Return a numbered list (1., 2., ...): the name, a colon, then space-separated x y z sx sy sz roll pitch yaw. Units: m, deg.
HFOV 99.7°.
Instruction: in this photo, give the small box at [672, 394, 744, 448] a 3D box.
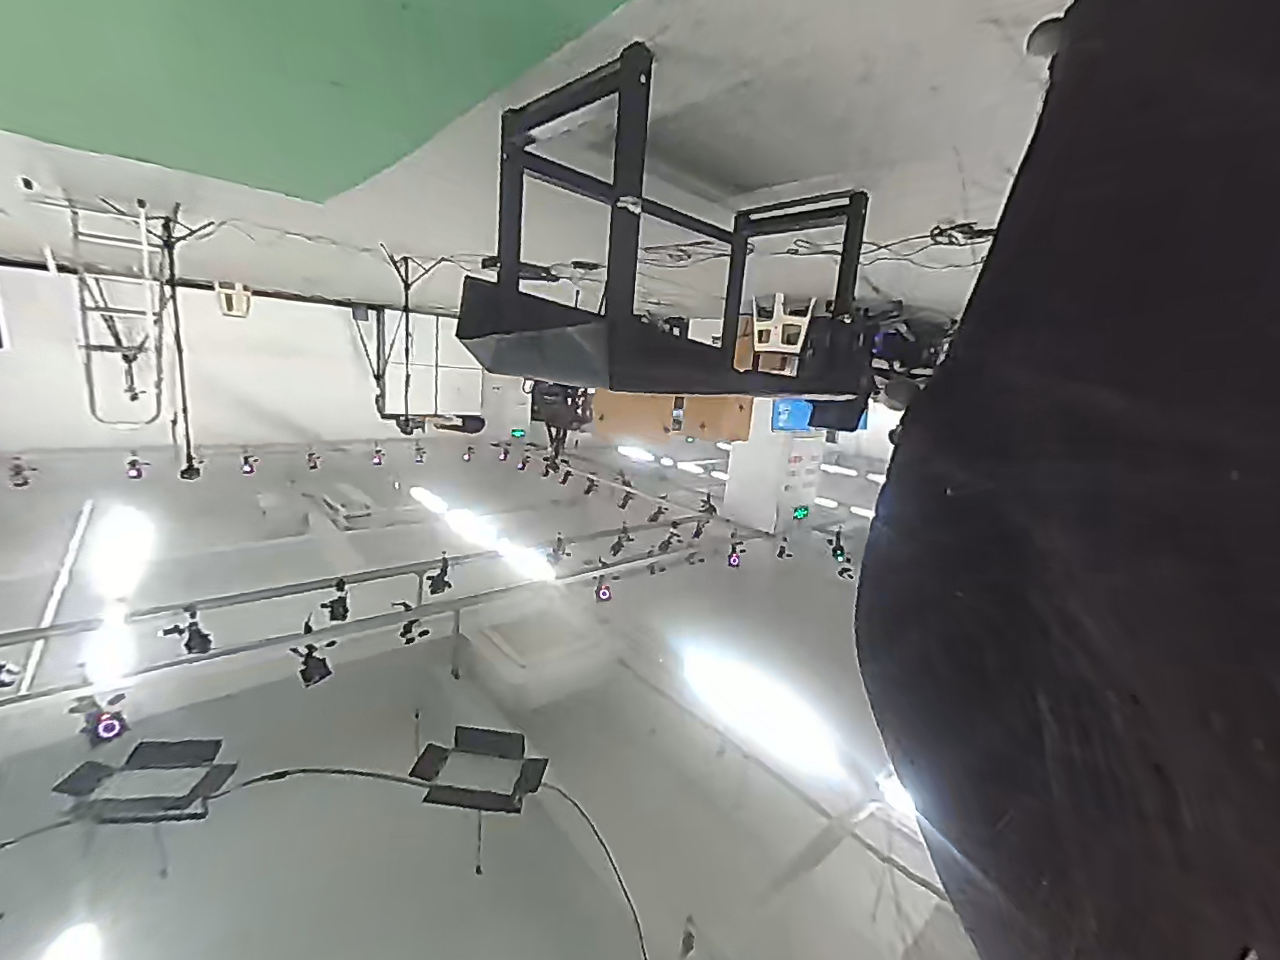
1. small box: 0.234 -0.203 1.829 0.179 0.176 0.168 14 -166 43
